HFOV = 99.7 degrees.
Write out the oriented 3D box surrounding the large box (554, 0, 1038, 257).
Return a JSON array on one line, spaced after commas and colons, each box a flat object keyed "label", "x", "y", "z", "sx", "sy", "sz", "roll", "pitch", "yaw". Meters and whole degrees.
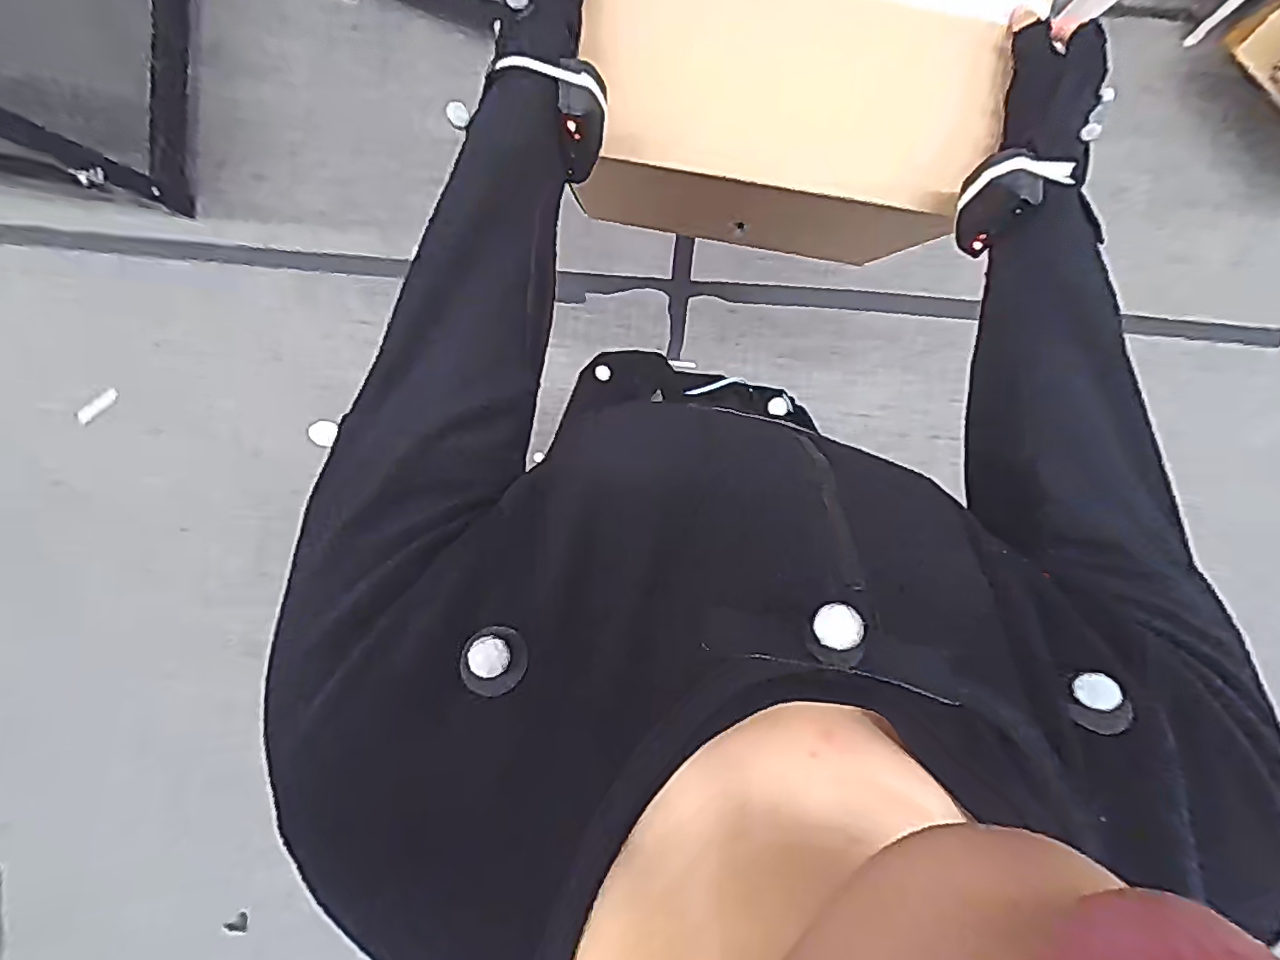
[{"label": "large box", "x": 0.144, "y": -0.457, "z": 0.605, "sx": 0.408, "sy": 0.320, "sz": 0.320, "roll": 10, "pitch": 104, "yaw": -1}]
